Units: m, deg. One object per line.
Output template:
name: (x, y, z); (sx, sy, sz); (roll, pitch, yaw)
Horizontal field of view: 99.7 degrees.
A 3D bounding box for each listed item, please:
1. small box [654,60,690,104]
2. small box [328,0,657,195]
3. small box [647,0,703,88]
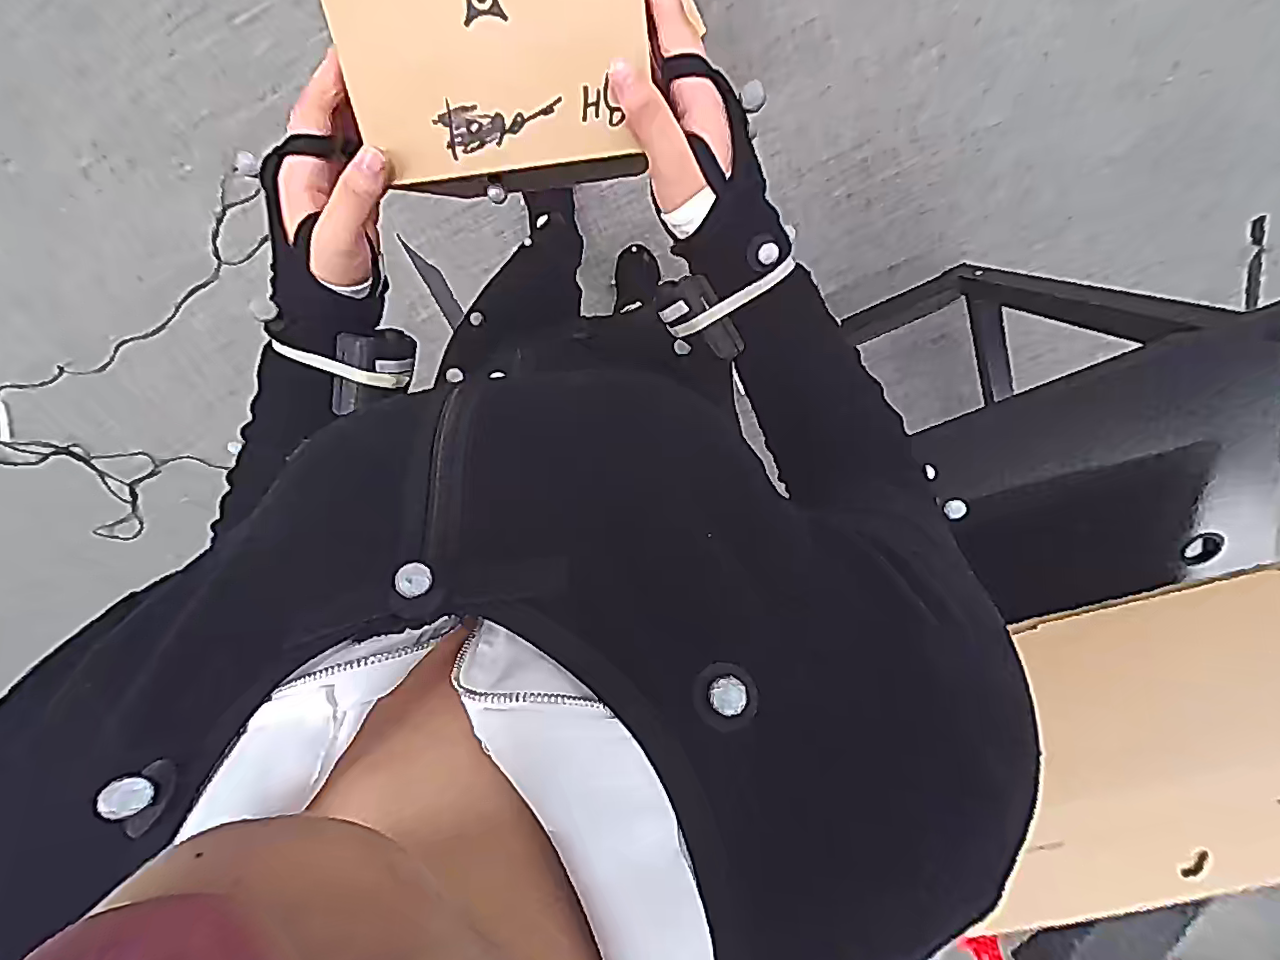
small box: (-0.018, -0.840, 1.071); (0.179, 0.176, 0.168); (-25, 114, 13)
small box: (-0.083, -0.294, 0.346); (0.168, 0.176, 0.179); (-7, 115, 2)
small box: (-0.012, -0.771, 0.923); (0.179, 0.176, 0.168); (-29, 114, 12)
